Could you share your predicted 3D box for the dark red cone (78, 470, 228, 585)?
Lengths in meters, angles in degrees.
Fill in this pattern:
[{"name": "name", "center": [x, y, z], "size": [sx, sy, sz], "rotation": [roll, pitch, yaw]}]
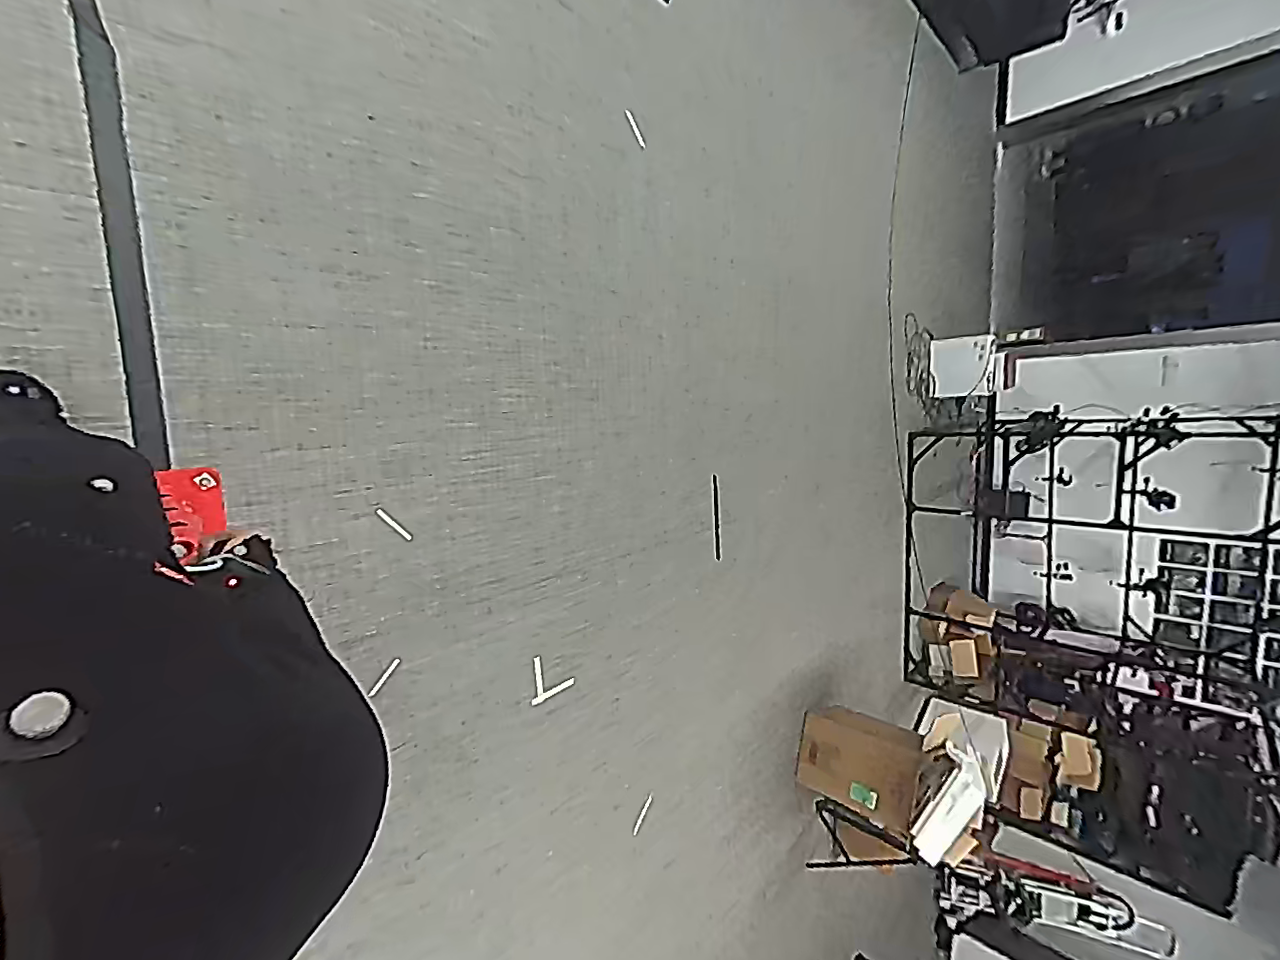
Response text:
[{"name": "dark red cone", "center": [-0.810, 0.097, 0.924], "size": [0.201, 0.394, 0.202], "rotation": [-10, 101, -44]}]
